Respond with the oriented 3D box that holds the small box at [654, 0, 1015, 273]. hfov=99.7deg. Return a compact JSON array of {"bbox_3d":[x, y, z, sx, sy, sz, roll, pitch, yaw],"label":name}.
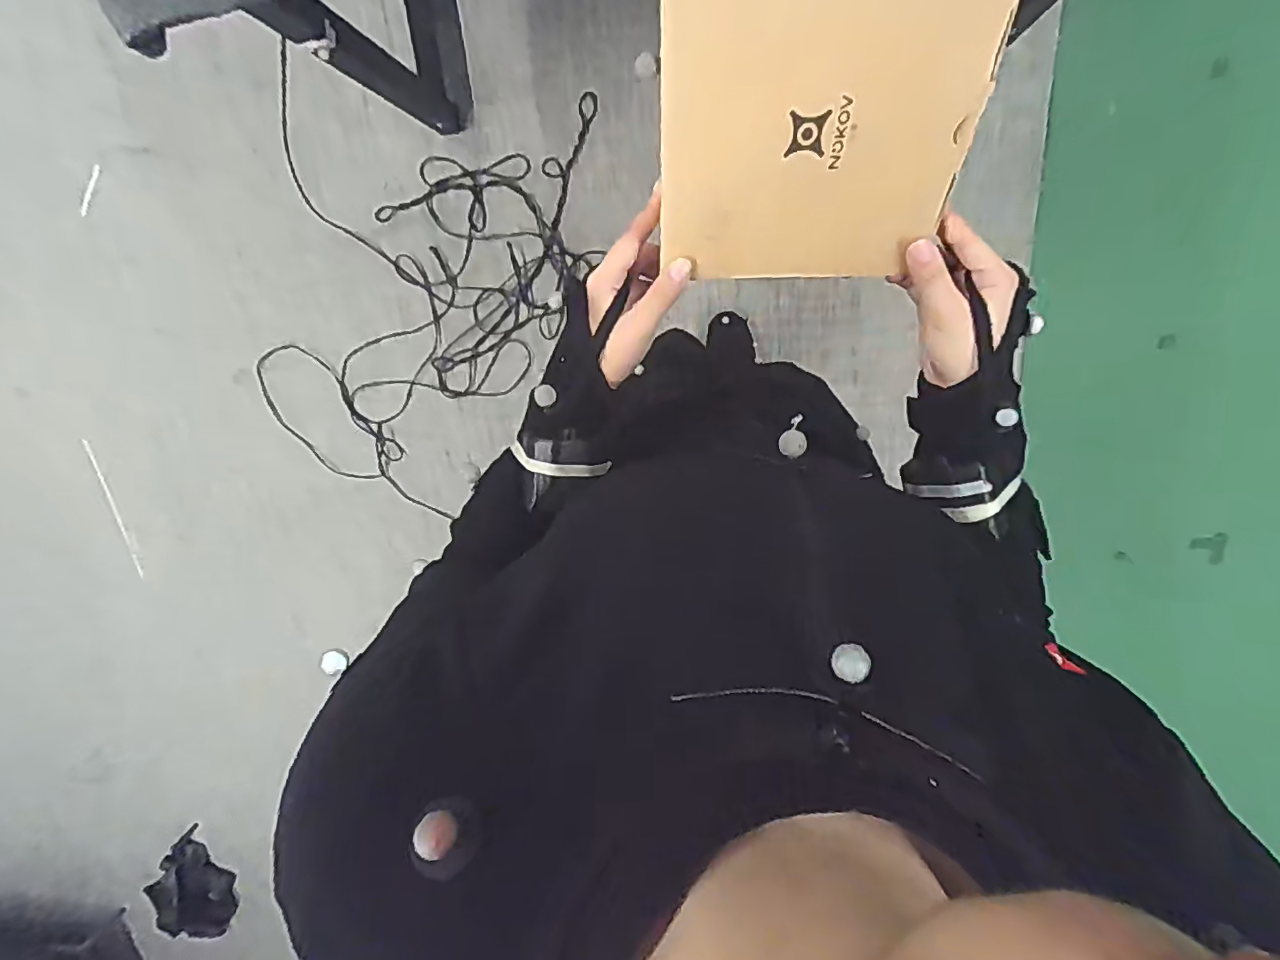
[{"bbox_3d":[0.098,-0.252,0.356,0.179,0.176,0.168,-1,135,2],"label":"small box"}]
